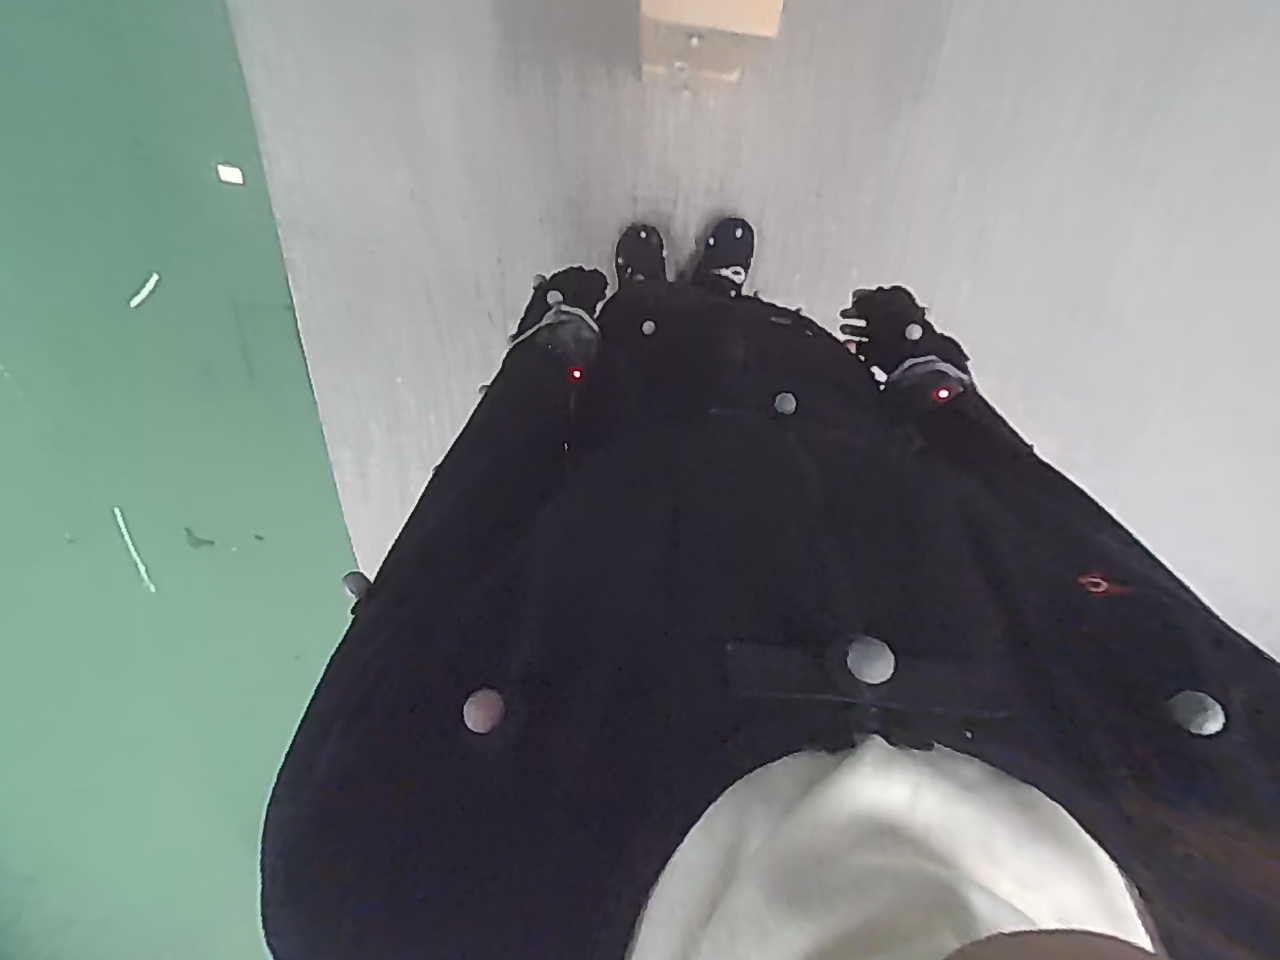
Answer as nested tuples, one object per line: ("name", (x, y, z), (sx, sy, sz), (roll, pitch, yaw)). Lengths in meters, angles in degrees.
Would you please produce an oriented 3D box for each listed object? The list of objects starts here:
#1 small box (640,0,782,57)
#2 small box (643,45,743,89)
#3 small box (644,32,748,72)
("small box", (0.097, -0.679, 0.706), (0.179, 0.176, 0.168), (6, 119, -3))
("small box", (0.101, -0.836, 0.993), (0.179, 0.176, 0.168), (5, 119, -3))
("small box", (0.095, -0.767, 0.846), (0.168, 0.176, 0.179), (5, 120, -1))
